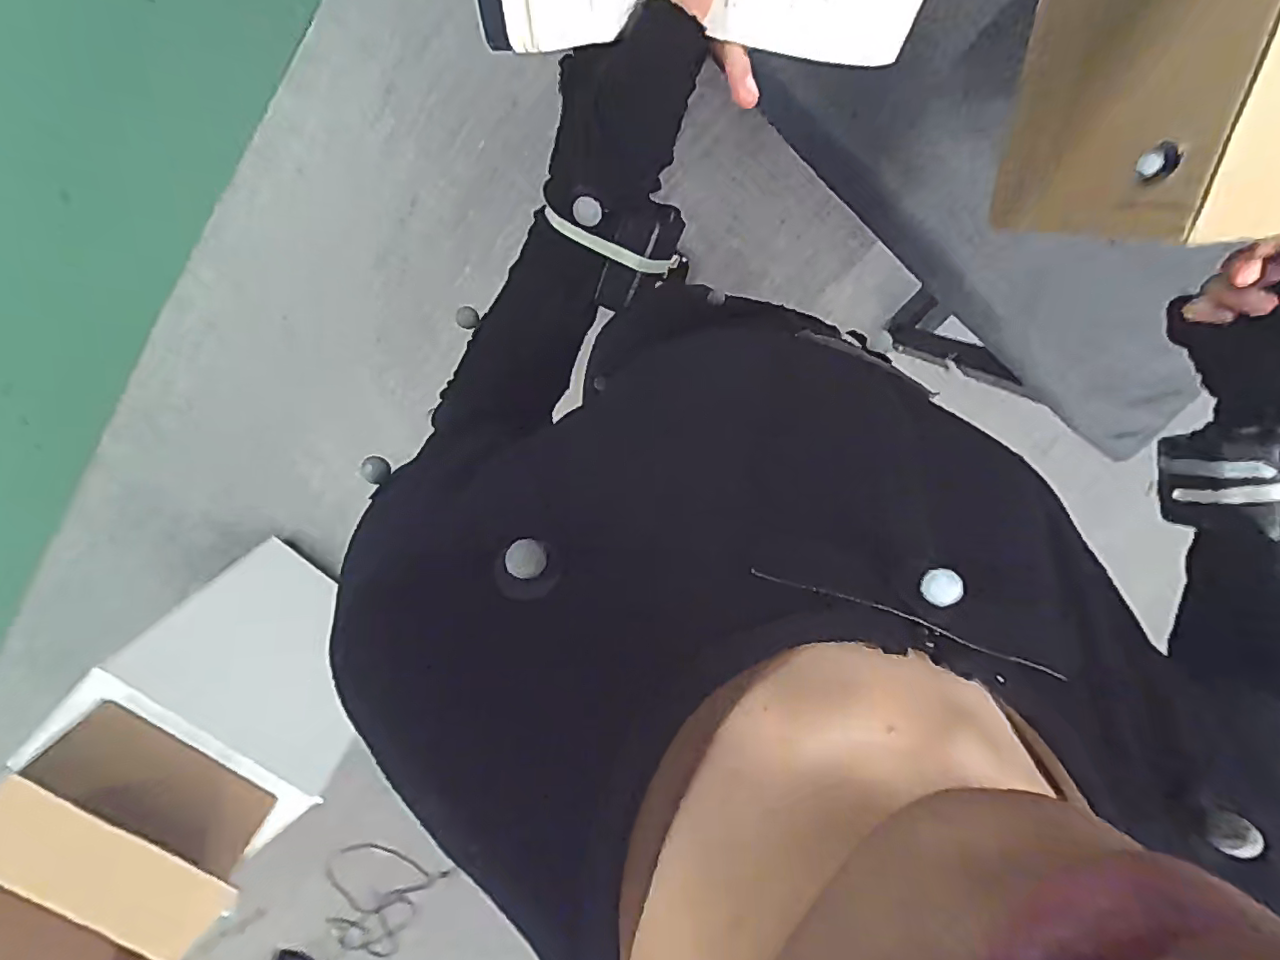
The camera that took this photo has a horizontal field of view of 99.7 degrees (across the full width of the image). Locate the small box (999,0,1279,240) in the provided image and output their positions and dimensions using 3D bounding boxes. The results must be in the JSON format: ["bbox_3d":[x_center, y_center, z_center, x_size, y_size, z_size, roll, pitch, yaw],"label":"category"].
[{"bbox_3d":[0.361,-0.249,0.327,0.168,0.176,0.179,-7,118,-4],"label":"small box"}]
